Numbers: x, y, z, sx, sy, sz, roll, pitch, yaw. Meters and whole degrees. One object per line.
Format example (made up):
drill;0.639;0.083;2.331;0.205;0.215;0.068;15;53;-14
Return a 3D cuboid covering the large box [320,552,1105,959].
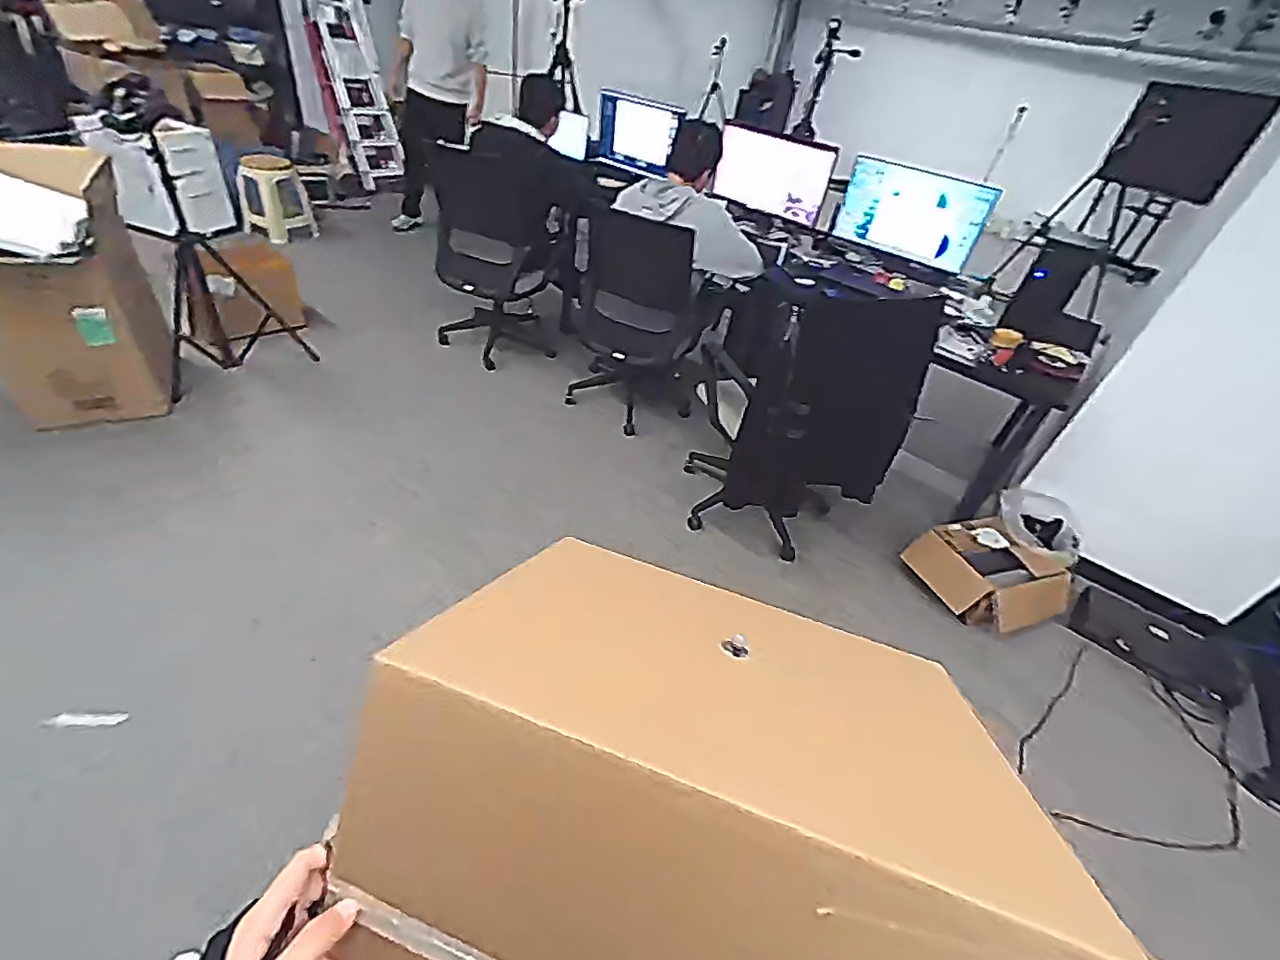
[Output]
large box;0.024;0.287;0.454;0.408;0.320;0.320;16;11;9
